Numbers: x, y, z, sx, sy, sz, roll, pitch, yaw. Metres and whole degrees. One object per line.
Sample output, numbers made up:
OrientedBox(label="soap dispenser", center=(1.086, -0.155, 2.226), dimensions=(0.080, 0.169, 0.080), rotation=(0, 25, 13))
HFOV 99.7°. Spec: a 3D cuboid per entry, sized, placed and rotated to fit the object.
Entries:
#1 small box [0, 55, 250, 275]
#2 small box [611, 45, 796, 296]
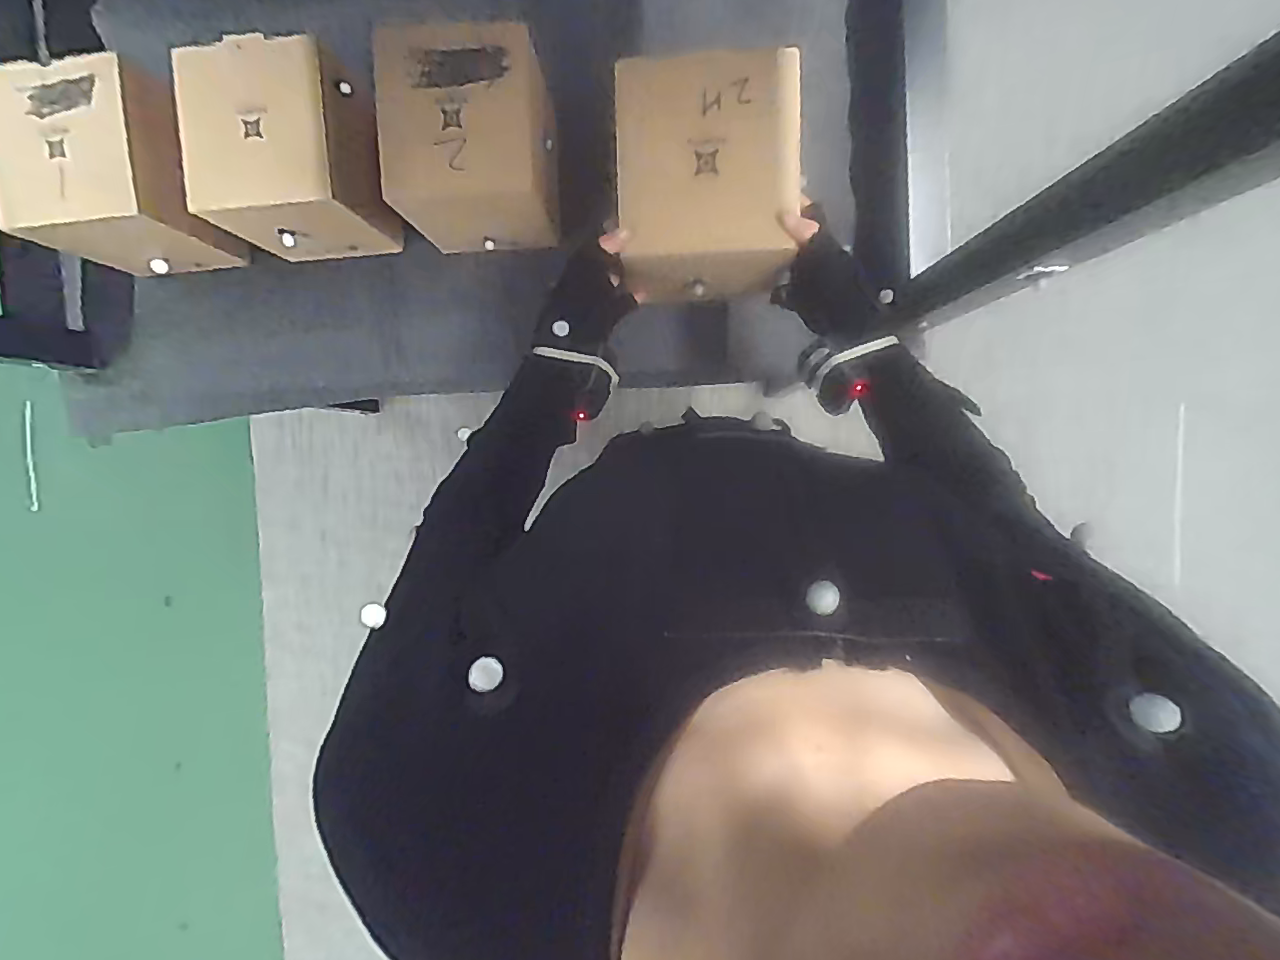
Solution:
OrientedBox(label="small box", center=(-0.632, -0.376, 0.674), dimensions=(0.168, 0.176, 0.179), rotation=(-4, 93, 3))
OrientedBox(label="small box", center=(0.063, -0.298, 0.563), dimensions=(0.168, 0.176, 0.179), rotation=(-1, 93, 4))
